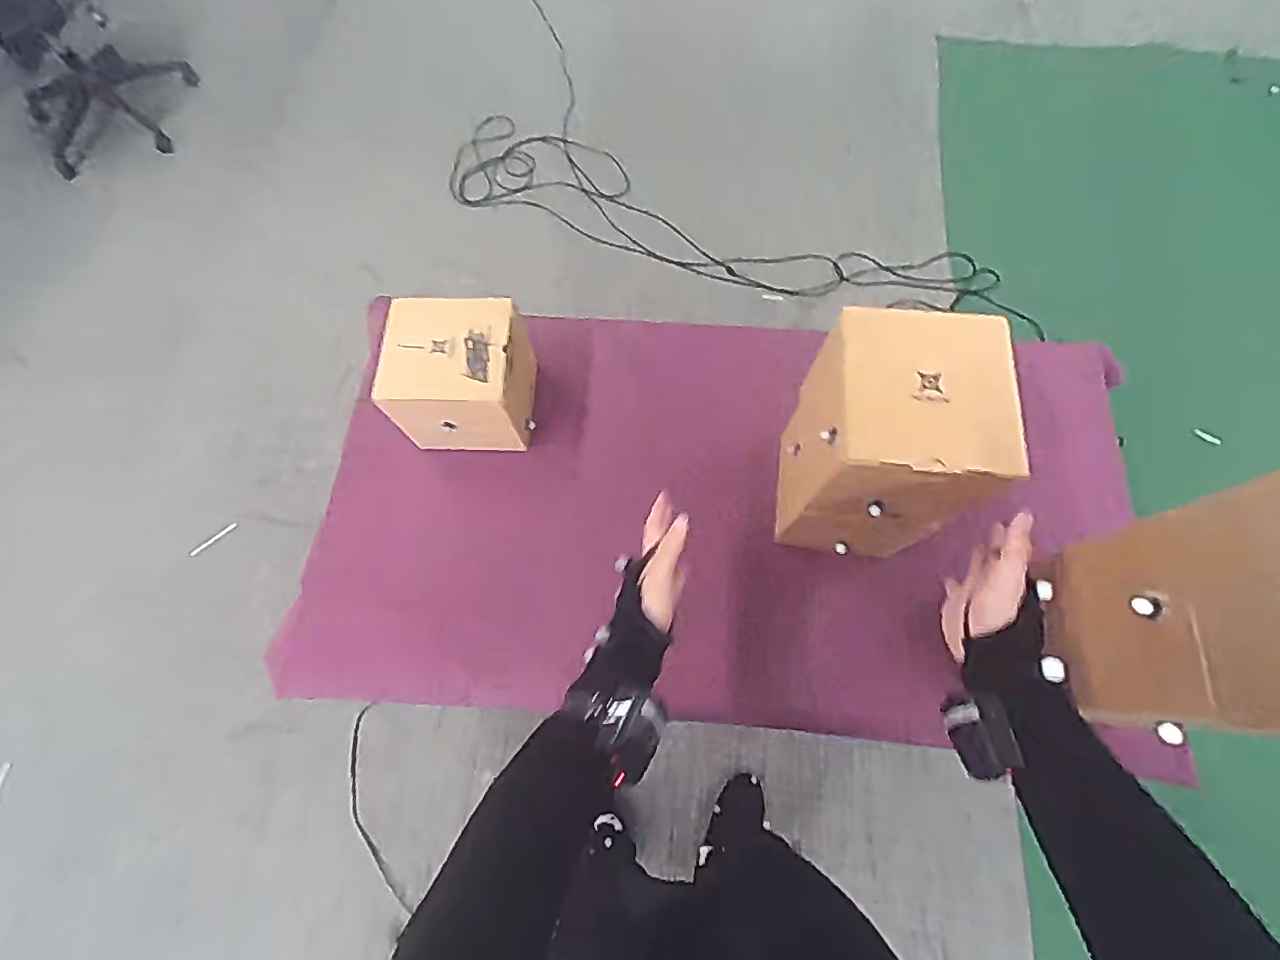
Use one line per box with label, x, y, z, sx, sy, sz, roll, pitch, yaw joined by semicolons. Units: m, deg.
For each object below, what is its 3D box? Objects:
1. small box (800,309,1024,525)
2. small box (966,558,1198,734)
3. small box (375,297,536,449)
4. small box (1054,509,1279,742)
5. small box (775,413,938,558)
small box;0.281;-0.061;0.602;0.168;0.176;0.179;5;71;3
small box;0.540;0.206;0.670;0.179;0.176;0.168;8;69;4
small box;-0.262;-0.153;0.816;0.179;0.176;0.168;1;70;2
small box;0.539;0.145;0.519;0.168;0.176;0.179;8;70;6
small box;0.291;-0.004;0.753;0.168;0.176;0.179;8;70;5
